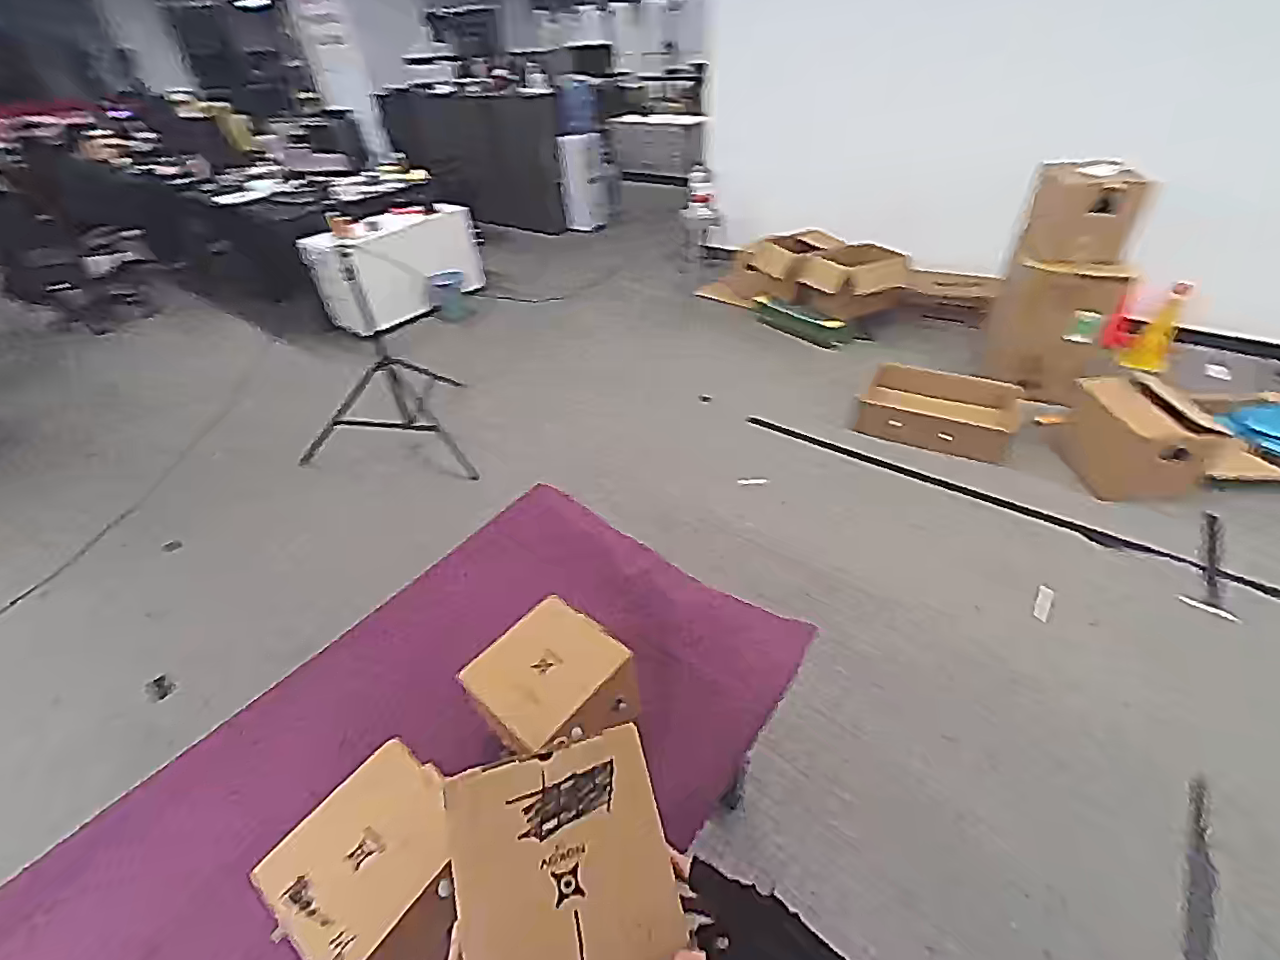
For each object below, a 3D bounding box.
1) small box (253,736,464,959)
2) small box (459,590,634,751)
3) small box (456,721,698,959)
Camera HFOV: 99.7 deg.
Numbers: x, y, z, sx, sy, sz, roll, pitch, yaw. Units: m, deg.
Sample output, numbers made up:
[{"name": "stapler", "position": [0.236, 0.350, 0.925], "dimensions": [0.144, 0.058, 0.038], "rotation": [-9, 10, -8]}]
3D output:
[{"name": "small box", "position": [-0.282, 0.445, 0.620], "dimensions": [0.168, 0.176, 0.179], "rotation": [23, 47, 30]}, {"name": "small box", "position": [-0.123, 0.301, 0.776], "dimensions": [0.168, 0.176, 0.179], "rotation": [26, 50, 33]}, {"name": "small box", "position": [-0.071, 0.332, 0.481], "dimensions": [0.168, 0.176, 0.179], "rotation": [-6, 64, -18]}]
